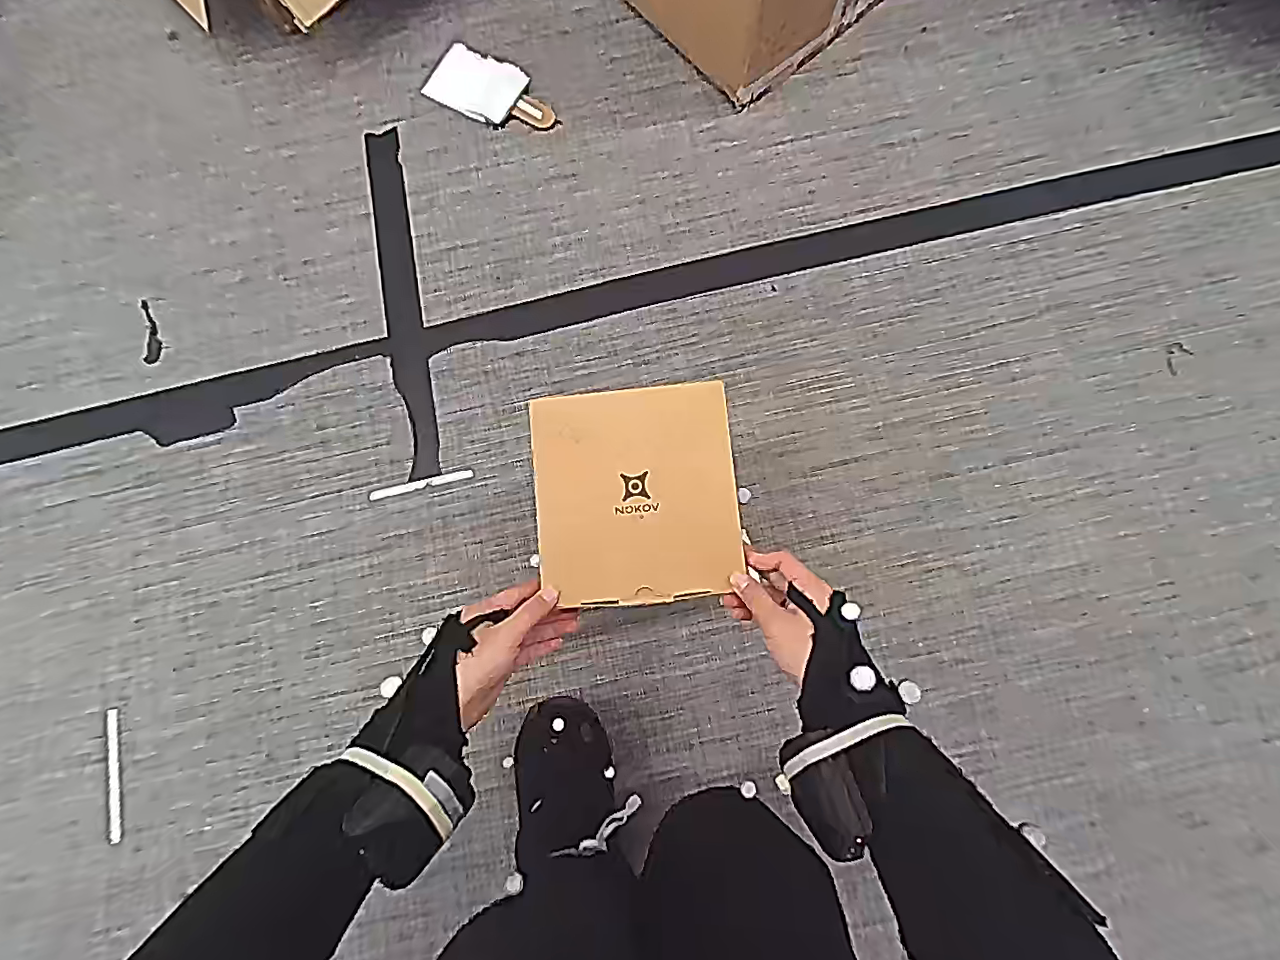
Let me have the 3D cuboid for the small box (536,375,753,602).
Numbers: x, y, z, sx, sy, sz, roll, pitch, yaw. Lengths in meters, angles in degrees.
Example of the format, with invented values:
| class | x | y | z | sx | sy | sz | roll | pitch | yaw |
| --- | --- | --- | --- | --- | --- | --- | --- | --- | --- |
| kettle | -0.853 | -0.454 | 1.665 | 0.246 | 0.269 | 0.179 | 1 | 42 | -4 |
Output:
| class | x | y | z | sx | sy | sz | roll | pitch | yaw |
| --- | --- | --- | --- | --- | --- | --- | --- | --- | --- |
| small box | 0.002 | 0.016 | 0.517 | 0.168 | 0.176 | 0.179 | -6 | 82 | 1 |
